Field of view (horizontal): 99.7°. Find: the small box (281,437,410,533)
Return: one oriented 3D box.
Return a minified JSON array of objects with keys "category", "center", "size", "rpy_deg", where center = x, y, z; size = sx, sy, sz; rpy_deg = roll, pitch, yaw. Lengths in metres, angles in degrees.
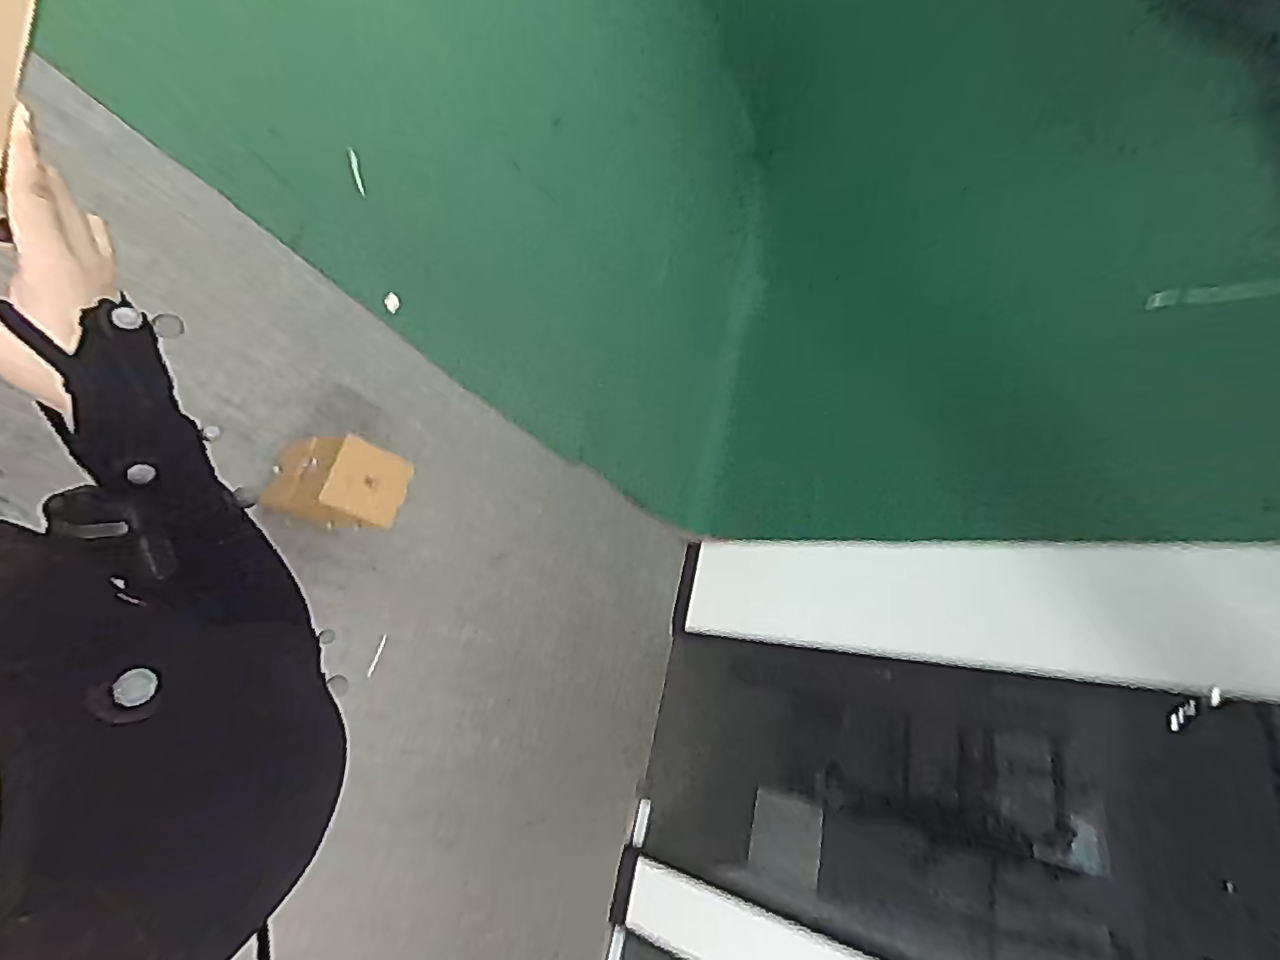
[{"category":"small box","center":[-0.684,0.017,1.261],"size":[0.179,0.176,0.168],"rpy_deg":[40,54,-47]}]

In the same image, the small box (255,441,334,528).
[{"category":"small box","center":[-0.813,0.016,1.357],"size":[0.179,0.176,0.168],"rpy_deg":[36,59,-46]}]
